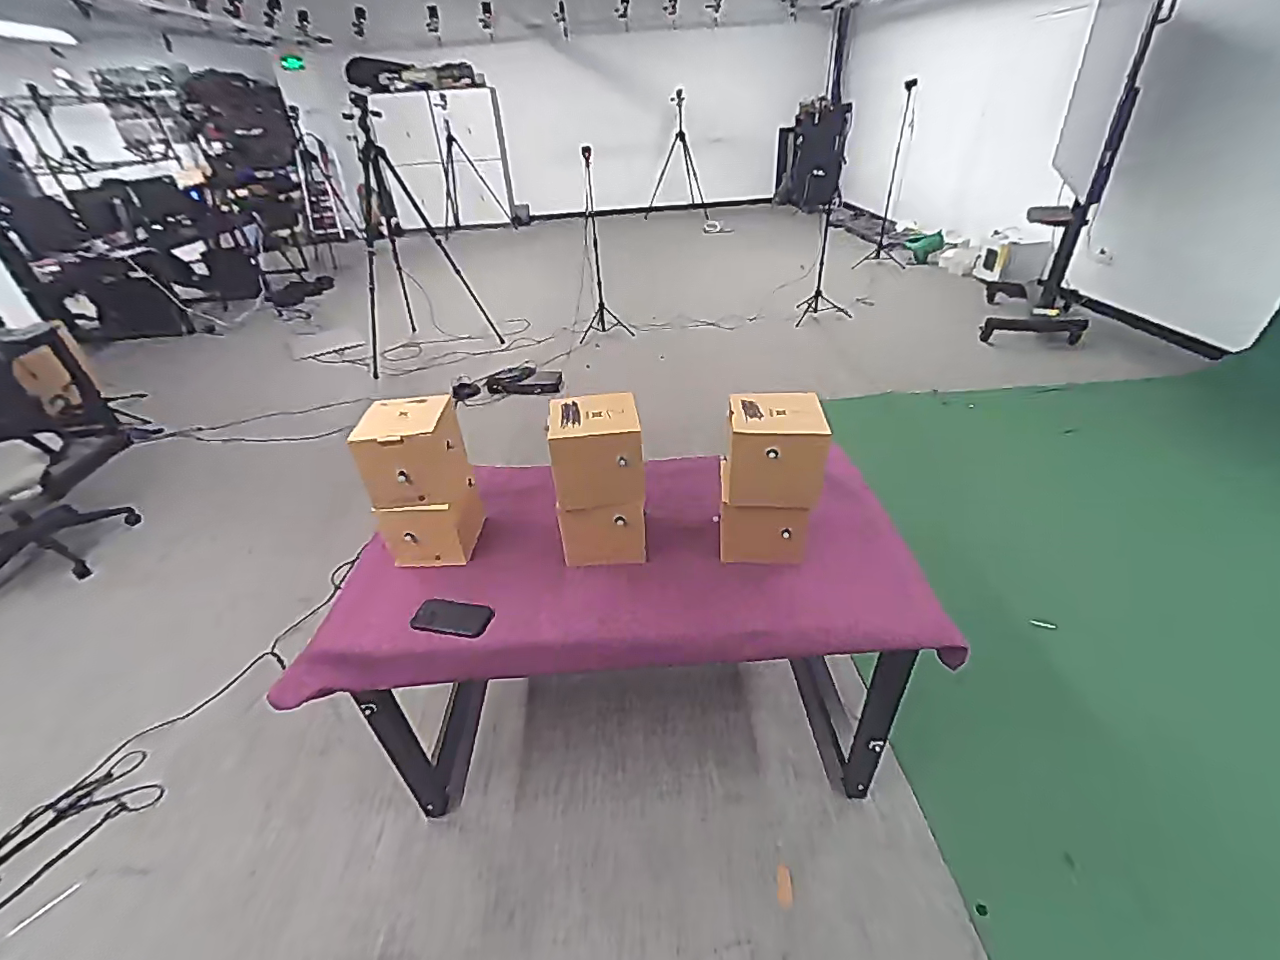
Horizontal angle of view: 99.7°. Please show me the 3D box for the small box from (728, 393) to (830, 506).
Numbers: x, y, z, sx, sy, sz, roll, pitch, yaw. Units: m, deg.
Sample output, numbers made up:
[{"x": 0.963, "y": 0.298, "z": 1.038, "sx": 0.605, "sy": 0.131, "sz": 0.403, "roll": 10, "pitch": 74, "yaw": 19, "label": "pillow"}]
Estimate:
[{"x": 0.264, "y": -0.061, "z": 1.070, "sx": 0.179, "sy": 0.176, "sz": 0.168, "roll": 1, "pitch": 35, "yaw": 6, "label": "small box"}]

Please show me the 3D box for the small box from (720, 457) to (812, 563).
[{"x": 0.266, "y": 0.065, "z": 1.176, "sx": 0.179, "sy": 0.176, "sz": 0.168, "roll": 0, "pitch": 35, "yaw": 8, "label": "small box"}]

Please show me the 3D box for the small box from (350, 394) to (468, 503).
[{"x": -0.474, "y": -0.062, "z": 1.144, "sx": 0.168, "sy": 0.176, "sz": 0.179, "roll": -5, "pitch": 35, "yaw": -2, "label": "small box"}]

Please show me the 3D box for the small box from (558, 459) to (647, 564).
[{"x": -0.074, "y": 0.071, "z": 1.199, "sx": 0.179, "sy": 0.176, "sz": 0.168, "roll": -3, "pitch": 35, "yaw": 2, "label": "small box"}]

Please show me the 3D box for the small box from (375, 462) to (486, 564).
[{"x": -0.464, "y": 0.078, "z": 1.231, "sx": 0.168, "sy": 0.176, "sz": 0.179, "roll": -2, "pitch": 35, "yaw": 3, "label": "small box"}]
